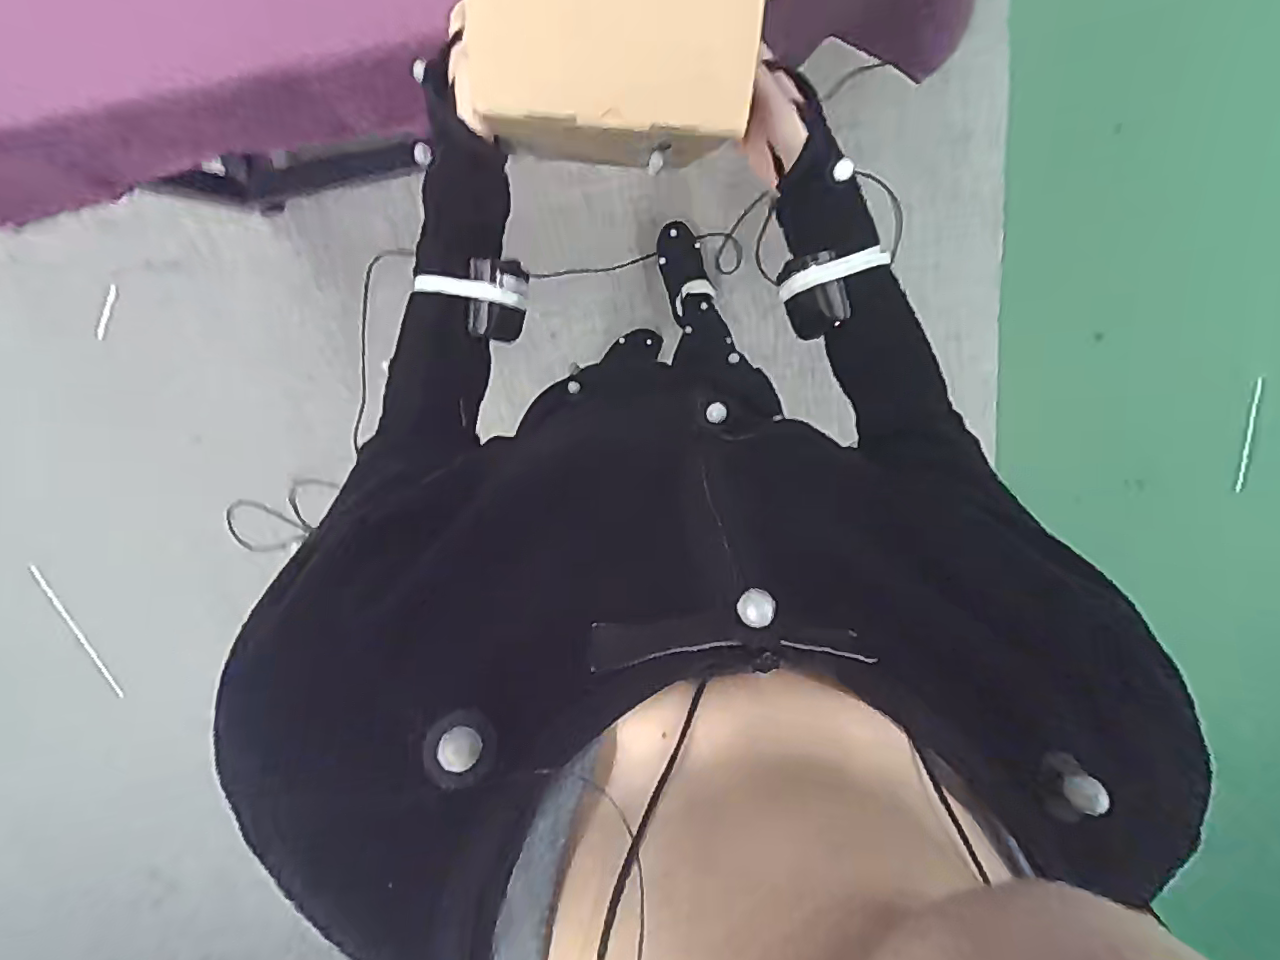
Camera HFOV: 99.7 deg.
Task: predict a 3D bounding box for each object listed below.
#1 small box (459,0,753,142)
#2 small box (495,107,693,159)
[{"bbox_3d":[-0.020,-0.335,0.353,0.168,0.176,0.179,1,115,-6],"label":"small box"},{"bbox_3d":[-0.034,-0.405,0.500,0.179,0.176,0.168,1,115,-5],"label":"small box"}]
